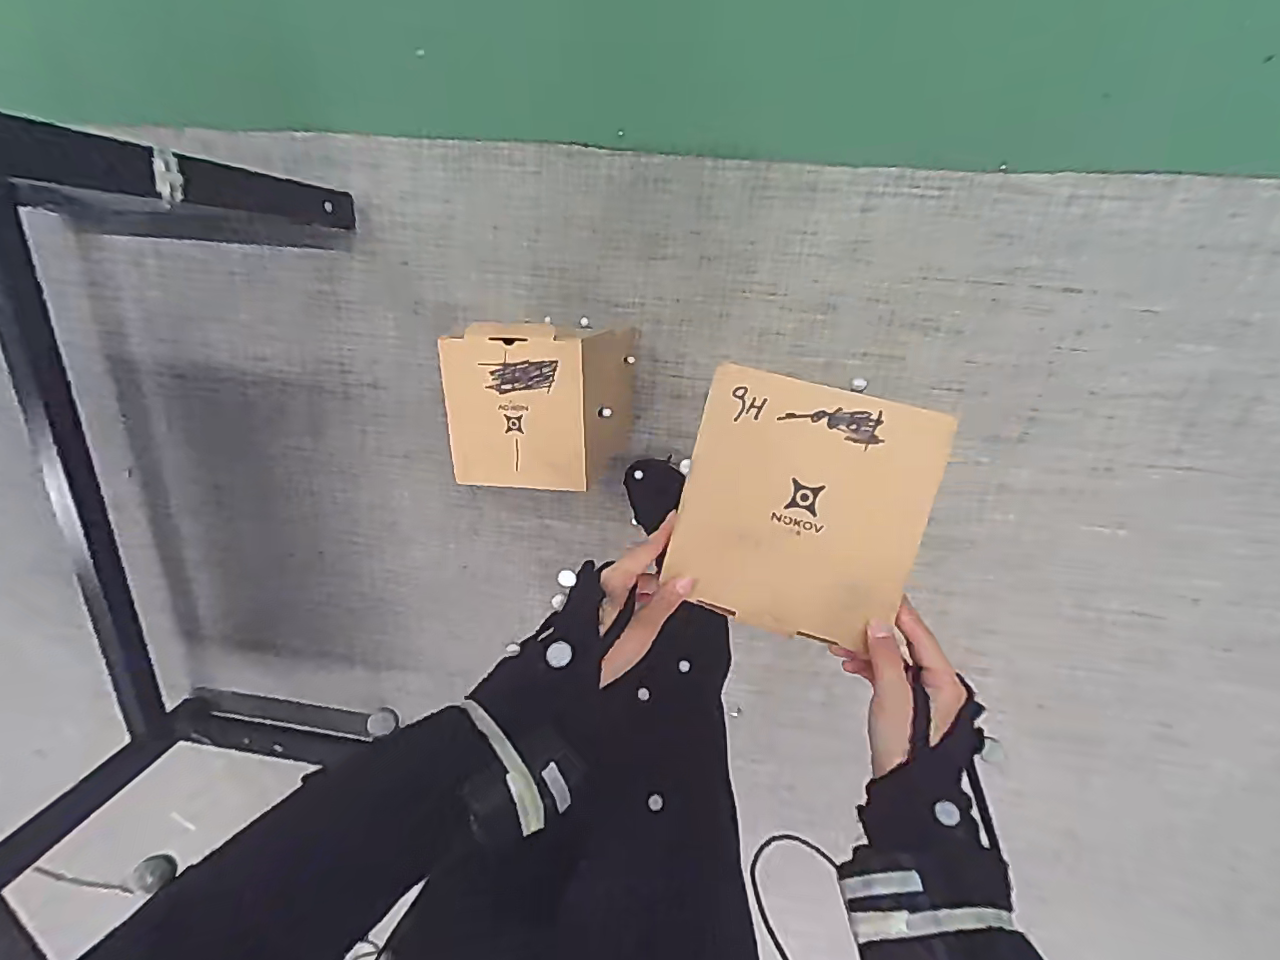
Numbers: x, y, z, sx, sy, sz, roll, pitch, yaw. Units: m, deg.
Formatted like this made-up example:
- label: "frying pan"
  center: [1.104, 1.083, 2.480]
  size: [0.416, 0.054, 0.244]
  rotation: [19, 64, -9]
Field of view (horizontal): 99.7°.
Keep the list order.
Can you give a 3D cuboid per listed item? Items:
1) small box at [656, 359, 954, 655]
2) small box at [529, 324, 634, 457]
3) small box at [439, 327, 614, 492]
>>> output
- label: "small box"
  center: [0.124, 0.012, 0.456]
  size: [0.168, 0.176, 0.179]
  rotation: [16, 97, 9]
- label: "small box"
  center: [-0.104, -0.146, 0.835]
  size: [0.168, 0.176, 0.179]
  rotation: [3, 110, 8]
- label: "small box"
  center: [-0.130, -0.098, 0.680]
  size: [0.168, 0.176, 0.179]
  rotation: [3, 110, 8]
